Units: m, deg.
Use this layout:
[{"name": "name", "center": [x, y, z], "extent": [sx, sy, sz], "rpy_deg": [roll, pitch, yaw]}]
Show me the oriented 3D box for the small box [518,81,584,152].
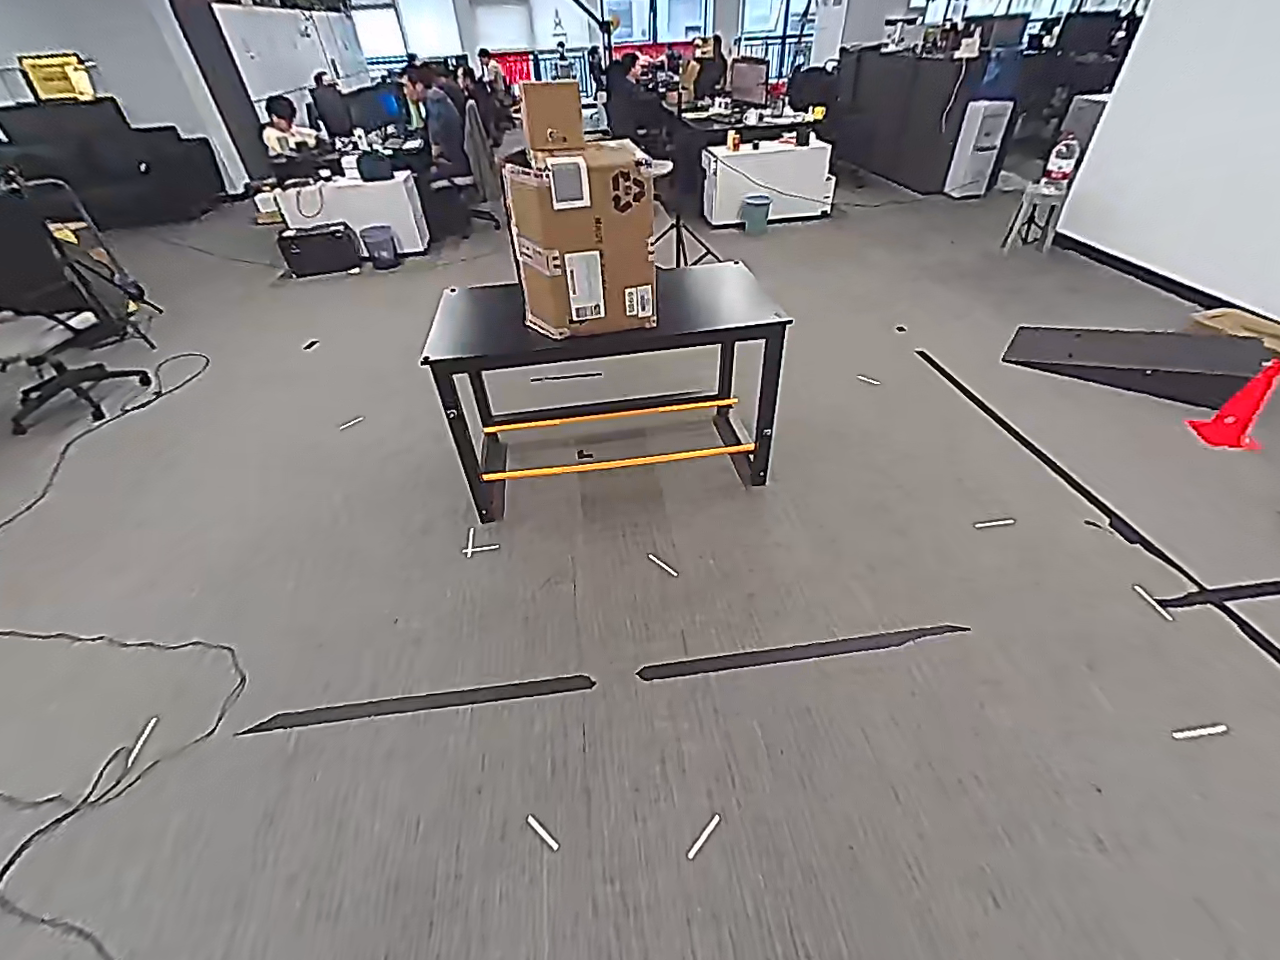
[{"name": "small box", "center": [-0.272, -1.106, 1.643], "extent": [0.168, 0.176, 0.179], "rpy_deg": [-11, 39, -10]}]
